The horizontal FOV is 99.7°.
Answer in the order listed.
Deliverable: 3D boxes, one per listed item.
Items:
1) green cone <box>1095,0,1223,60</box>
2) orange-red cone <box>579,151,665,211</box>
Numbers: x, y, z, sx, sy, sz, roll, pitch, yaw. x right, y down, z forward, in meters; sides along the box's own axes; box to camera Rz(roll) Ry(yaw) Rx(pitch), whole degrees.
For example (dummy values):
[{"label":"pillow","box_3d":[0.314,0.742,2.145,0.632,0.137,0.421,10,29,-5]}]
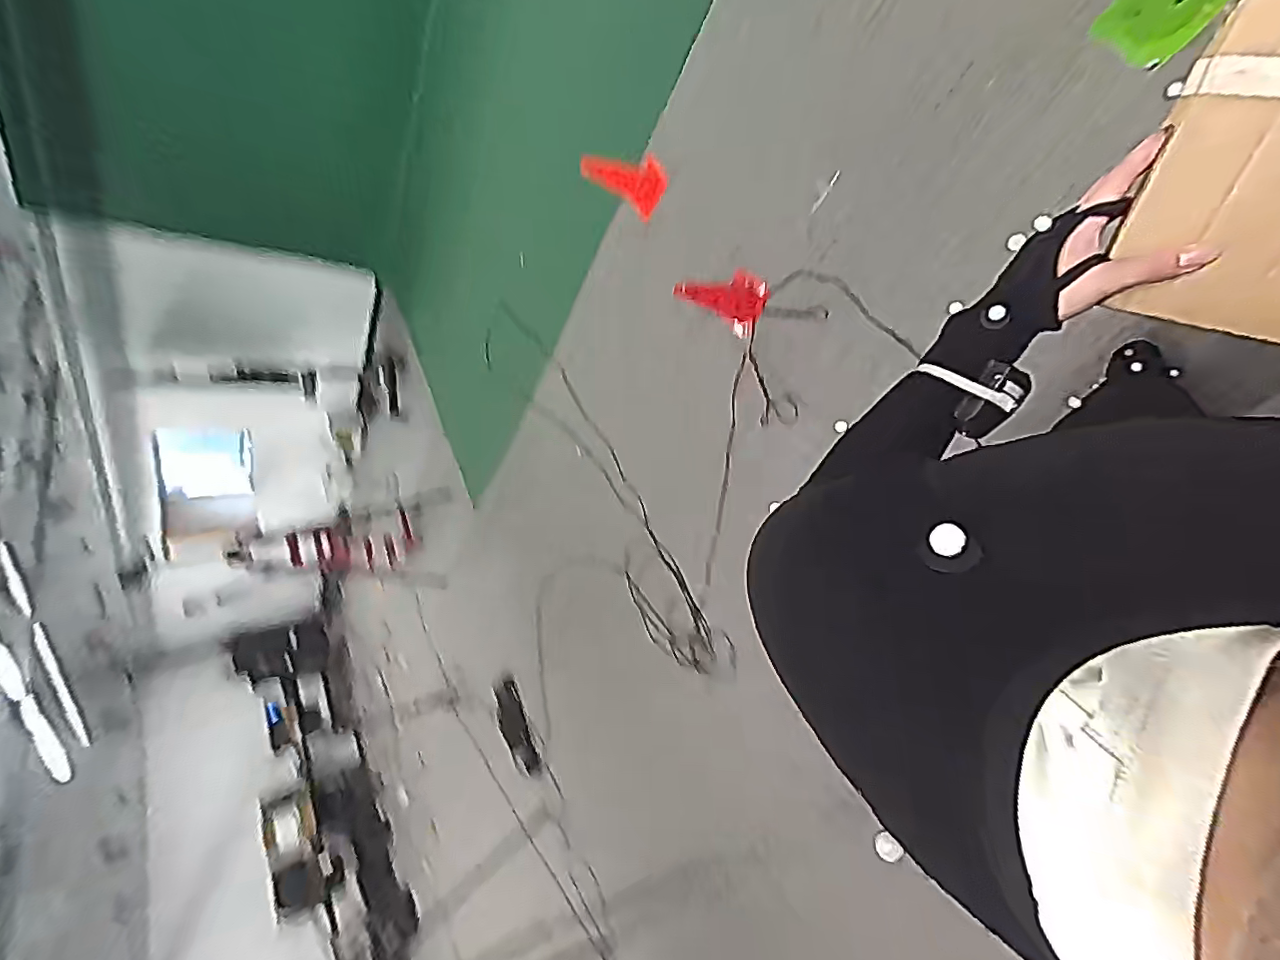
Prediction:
[{"label":"green cone","box_3d":[1.003,-1.035,1.044,0.200,0.368,0.202,-47,57,41]},{"label":"orange-red cone","box_3d":[-0.102,-1.335,2.331,0.199,0.360,0.198,-47,58,43]}]
